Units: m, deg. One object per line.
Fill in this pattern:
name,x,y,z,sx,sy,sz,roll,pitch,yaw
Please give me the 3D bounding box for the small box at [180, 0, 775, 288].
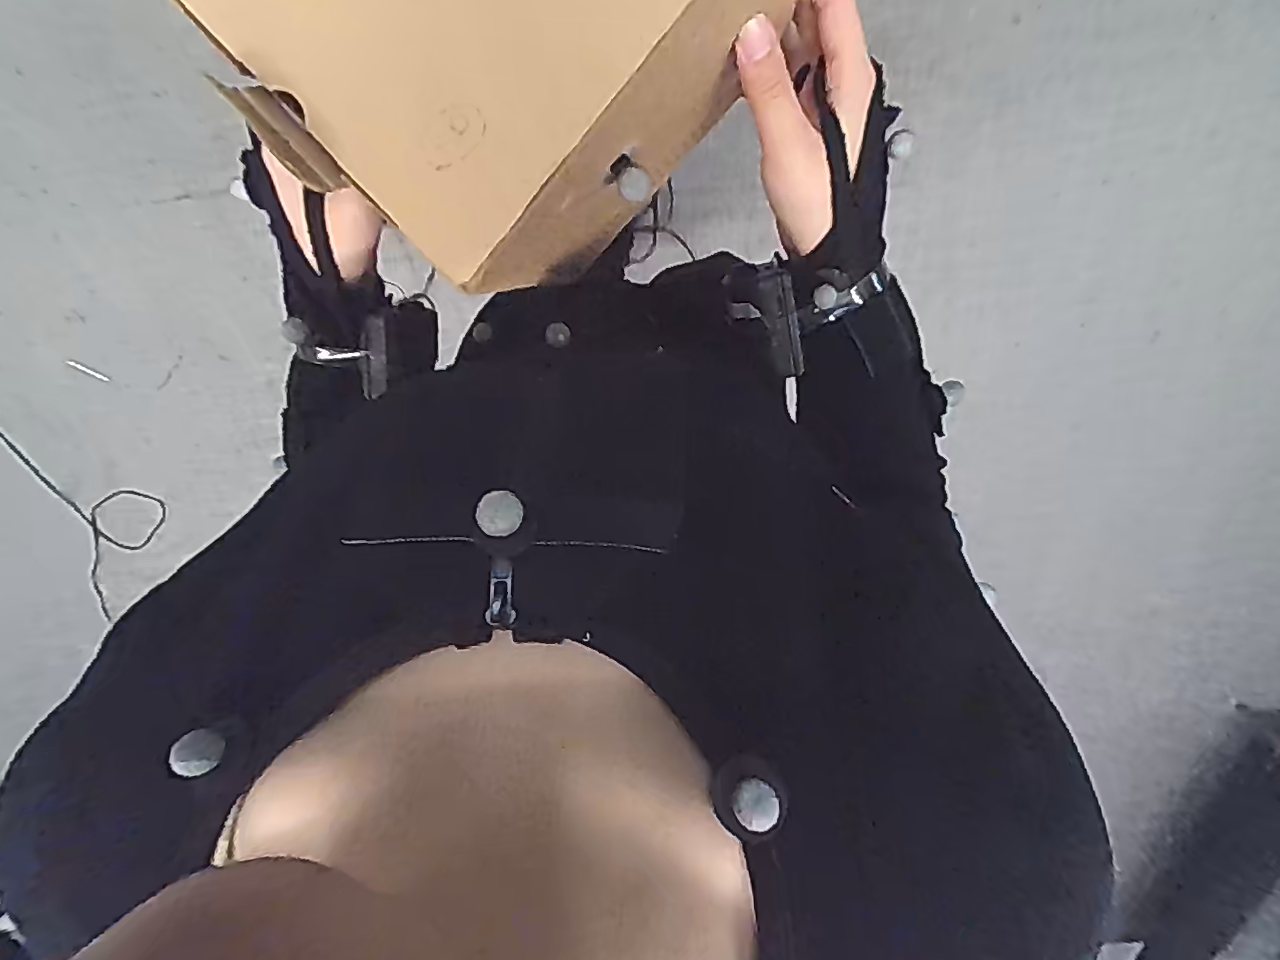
small box,-0.050,-0.213,0.247,0.168,0.176,0.179,44,112,-10
